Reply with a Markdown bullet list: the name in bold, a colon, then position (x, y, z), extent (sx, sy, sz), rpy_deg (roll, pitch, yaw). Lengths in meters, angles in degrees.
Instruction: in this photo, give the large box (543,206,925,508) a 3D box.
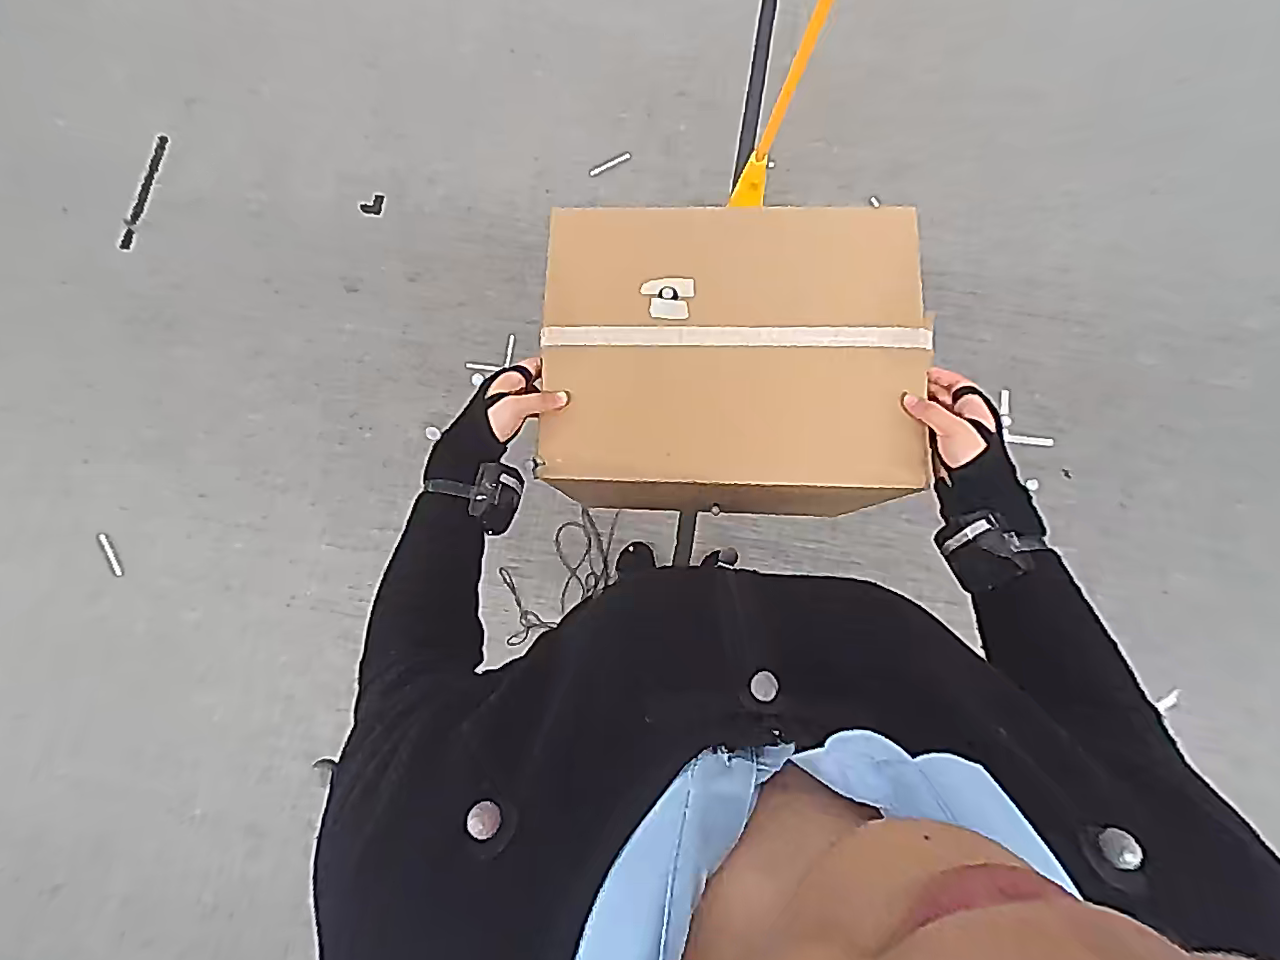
- **large box**: position (0.109, -0.129, 0.734), extent (0.408, 0.320, 0.320), rpy_deg (1, 80, 5)
